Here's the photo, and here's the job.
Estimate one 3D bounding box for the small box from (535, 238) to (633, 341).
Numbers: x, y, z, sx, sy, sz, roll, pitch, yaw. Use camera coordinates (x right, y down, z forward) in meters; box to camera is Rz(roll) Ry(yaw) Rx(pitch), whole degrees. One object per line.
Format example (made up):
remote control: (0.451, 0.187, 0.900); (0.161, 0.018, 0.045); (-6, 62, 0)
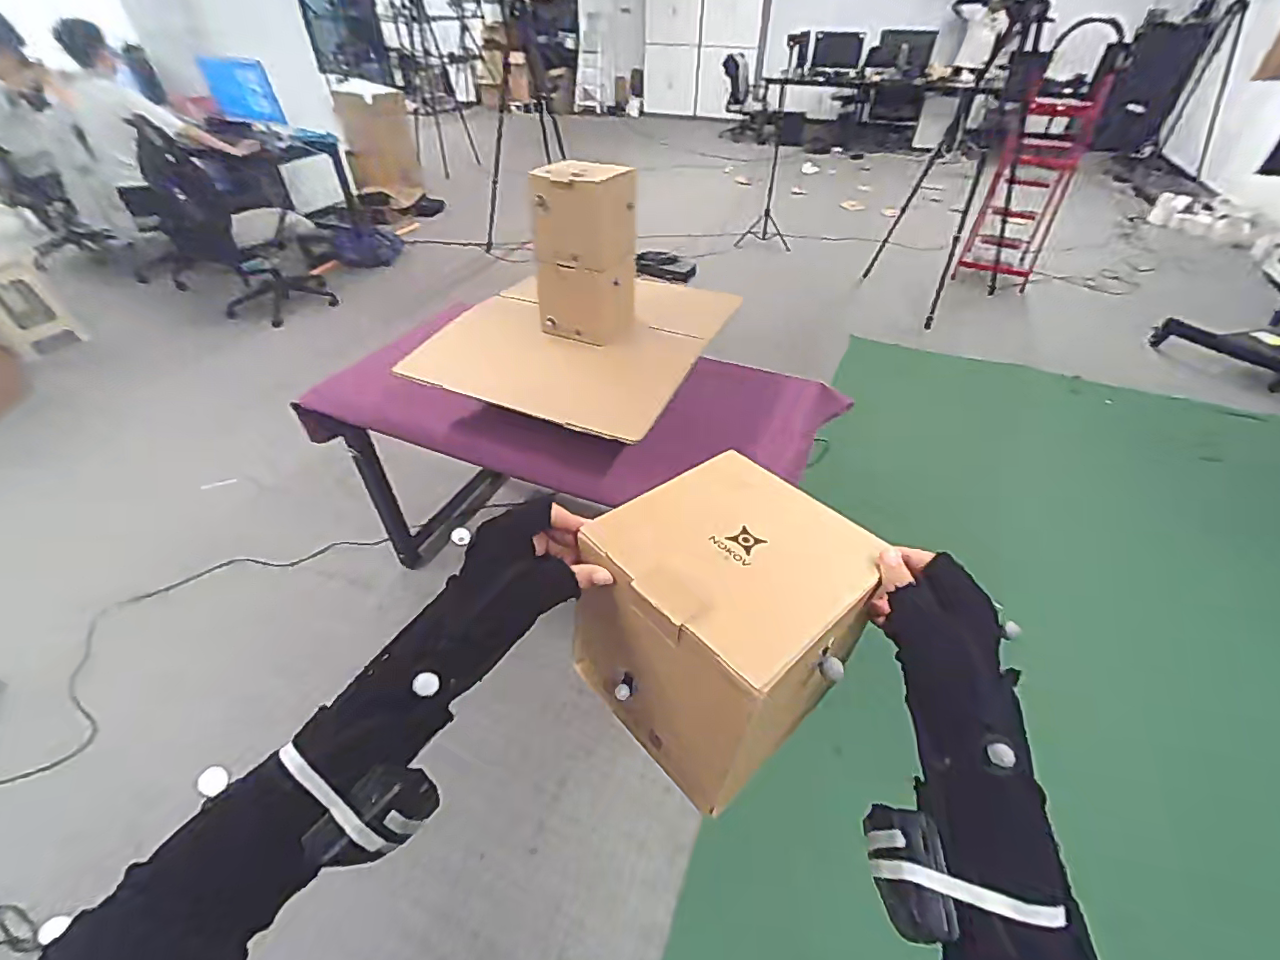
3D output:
small box: (-0.121, -0.441, 1.256); (0.168, 0.176, 0.179); (16, 44, 16)

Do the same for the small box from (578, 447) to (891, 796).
small box: (0.062, 0.105, 0.439); (0.179, 0.176, 0.168); (-27, 49, -35)
